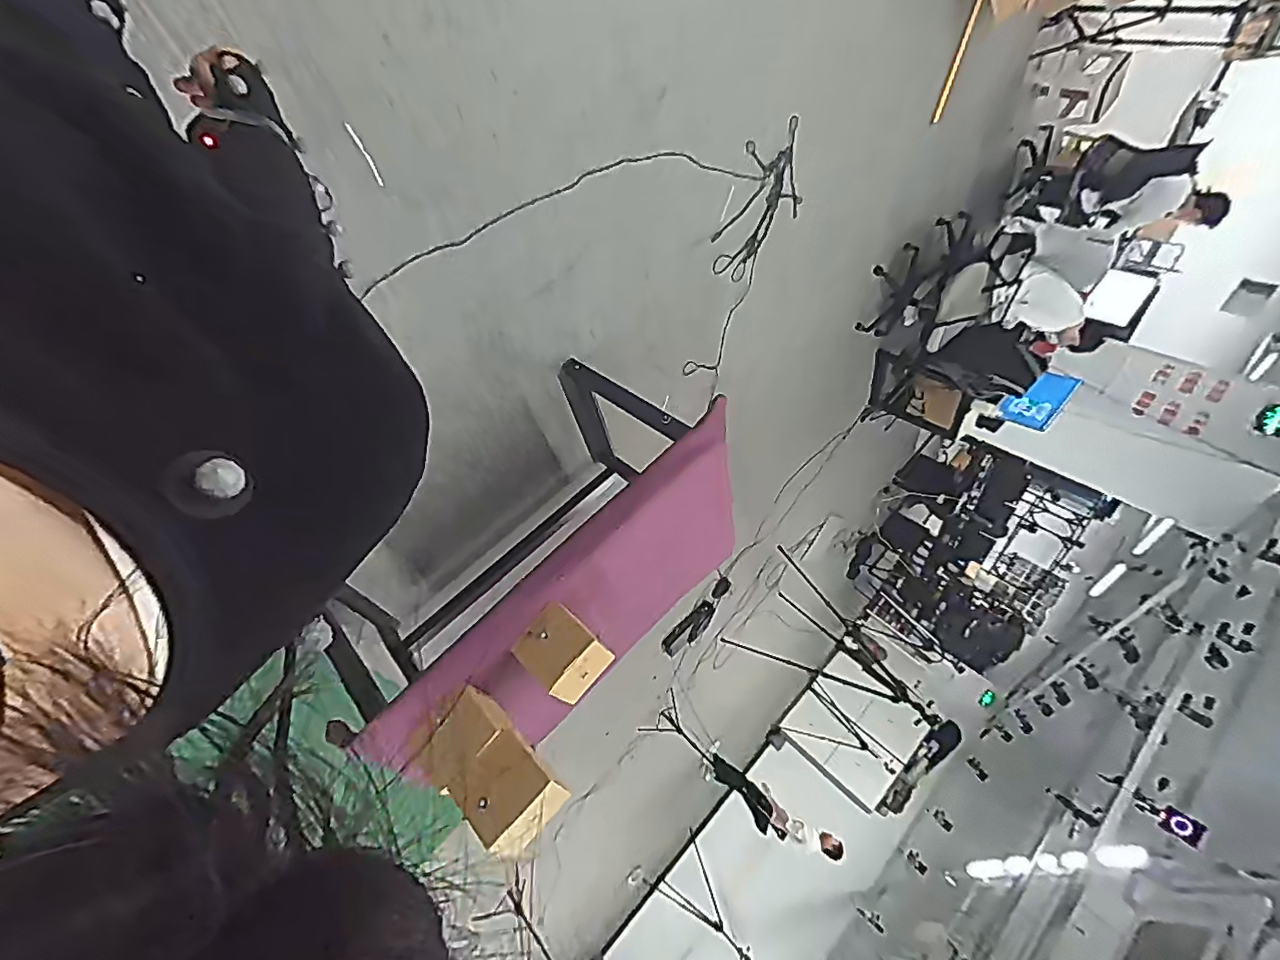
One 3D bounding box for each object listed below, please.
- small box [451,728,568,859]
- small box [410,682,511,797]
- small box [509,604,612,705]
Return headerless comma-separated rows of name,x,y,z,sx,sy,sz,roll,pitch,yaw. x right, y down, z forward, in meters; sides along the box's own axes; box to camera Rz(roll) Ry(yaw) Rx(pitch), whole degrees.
small box,-0.296,0.700,1.212,0.179,0.176,0.168,-42,145,-21
small box,-0.418,0.624,1.292,0.179,0.176,0.168,-45,146,-15
small box,-0.205,0.451,1.406,0.168,0.176,0.179,-46,147,-14
